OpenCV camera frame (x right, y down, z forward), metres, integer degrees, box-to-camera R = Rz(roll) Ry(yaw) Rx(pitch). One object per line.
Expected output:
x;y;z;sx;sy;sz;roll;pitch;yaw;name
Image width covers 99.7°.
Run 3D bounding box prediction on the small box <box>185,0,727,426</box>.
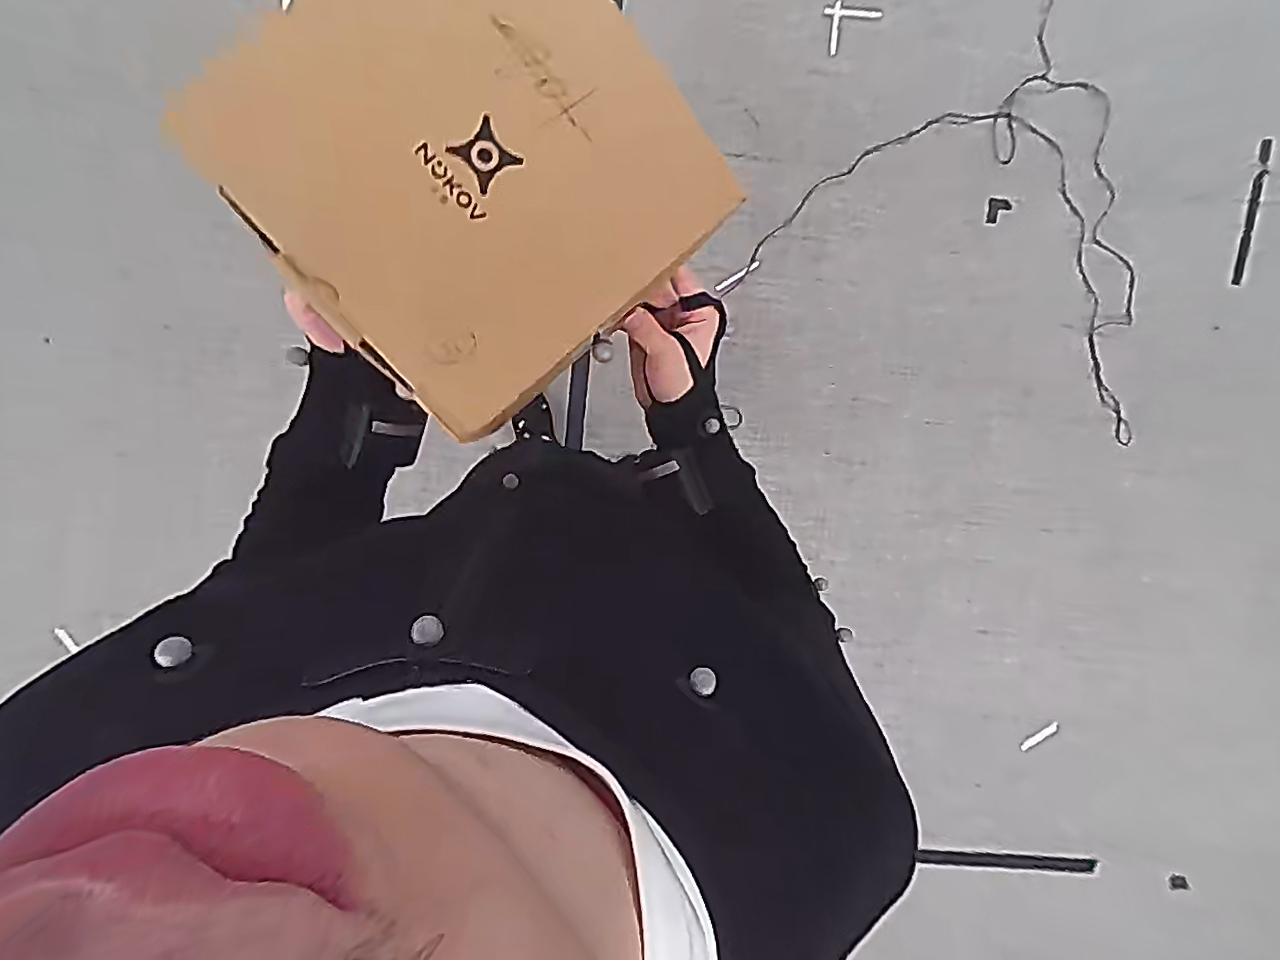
-0.085;-0.148;0.317;0.179;0.176;0.168;-43;103;-4;small box
